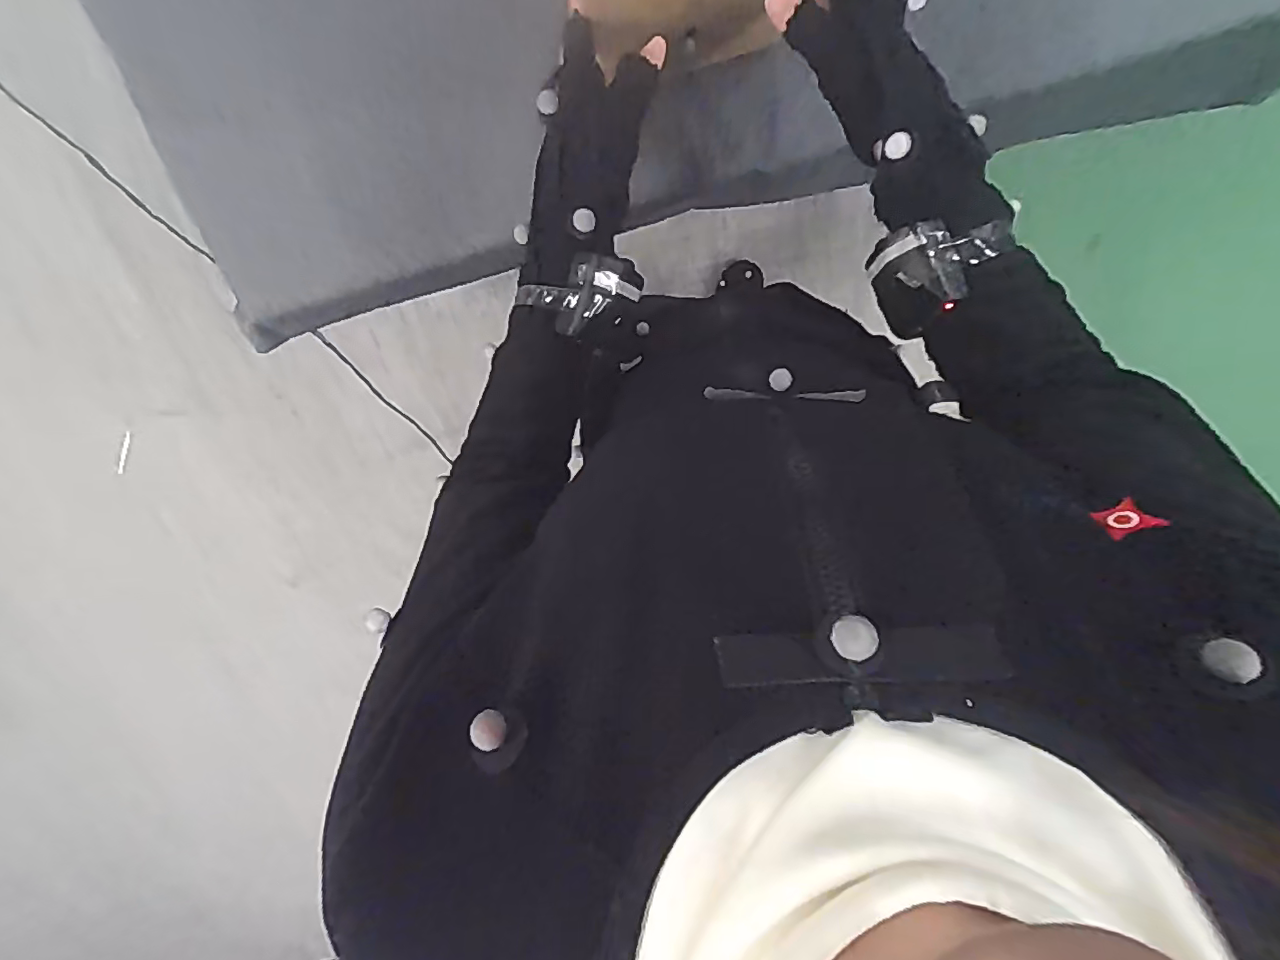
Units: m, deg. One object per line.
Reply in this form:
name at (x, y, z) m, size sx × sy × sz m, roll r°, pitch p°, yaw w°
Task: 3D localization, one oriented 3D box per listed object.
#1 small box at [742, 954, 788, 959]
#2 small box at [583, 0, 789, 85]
small box at (0.431, 1.702, 1.774) m, size 0.179 × 0.176 × 0.168 m, roll -17°, pitch 109°, yaw 9°
small box at (0.029, -0.459, 0.437) m, size 0.179 × 0.176 × 0.168 m, roll -12°, pitch 109°, yaw 6°
